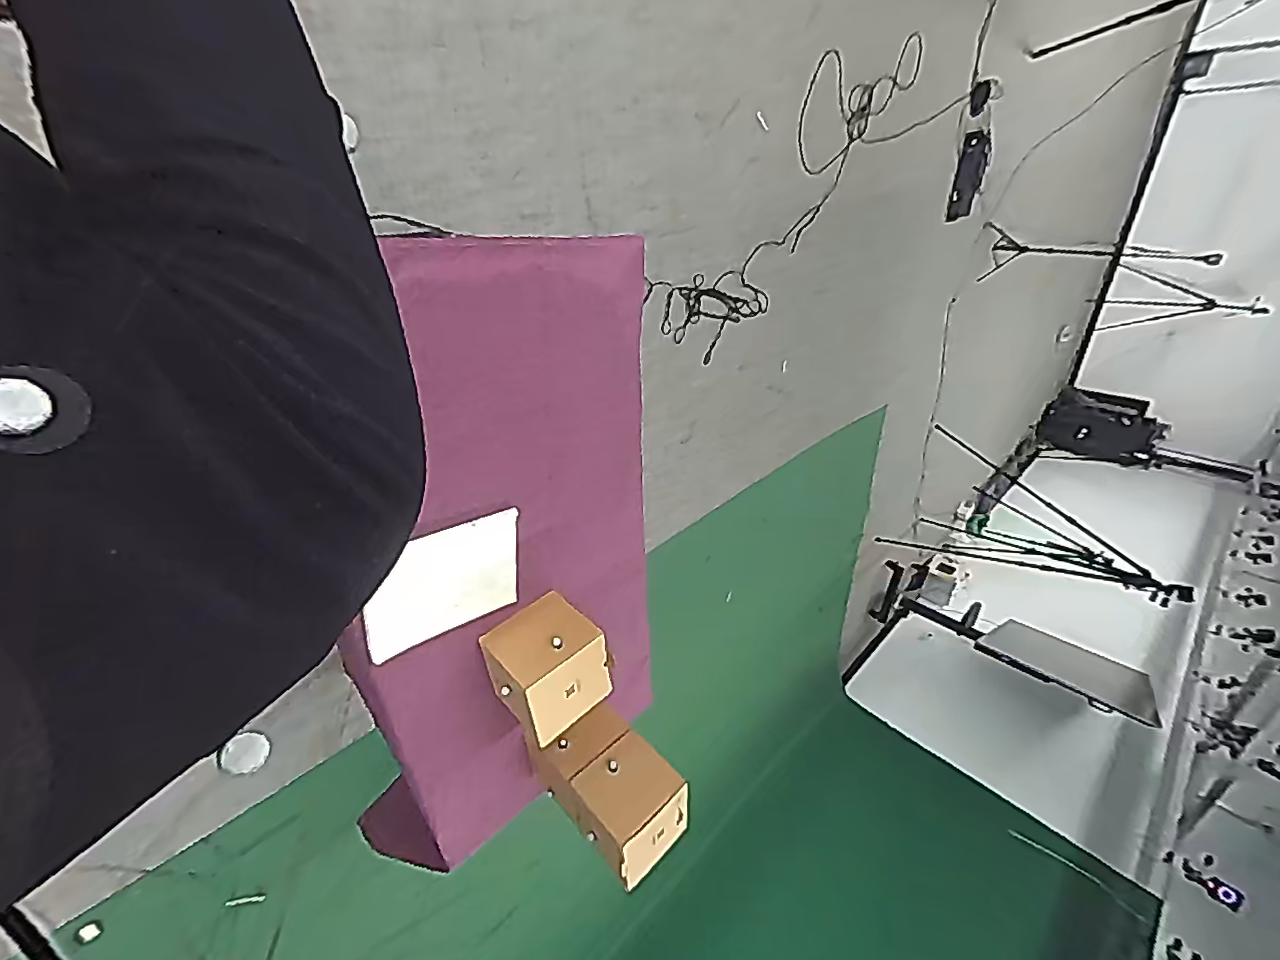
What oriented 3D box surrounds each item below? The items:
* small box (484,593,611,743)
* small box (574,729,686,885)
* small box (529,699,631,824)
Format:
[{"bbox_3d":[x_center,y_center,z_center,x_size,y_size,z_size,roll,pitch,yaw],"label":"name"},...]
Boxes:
[{"bbox_3d":[-0.181,0.352,1.041,0.179,0.176,0.168,-30,129,-35],"label":"small box"},{"bbox_3d":[-0.024,0.663,1.113,0.179,0.176,0.168,-26,128,-35],"label":"small box"},{"bbox_3d":[-0.135,0.613,1.222,0.179,0.176,0.168,-26,128,-36],"label":"small box"}]
